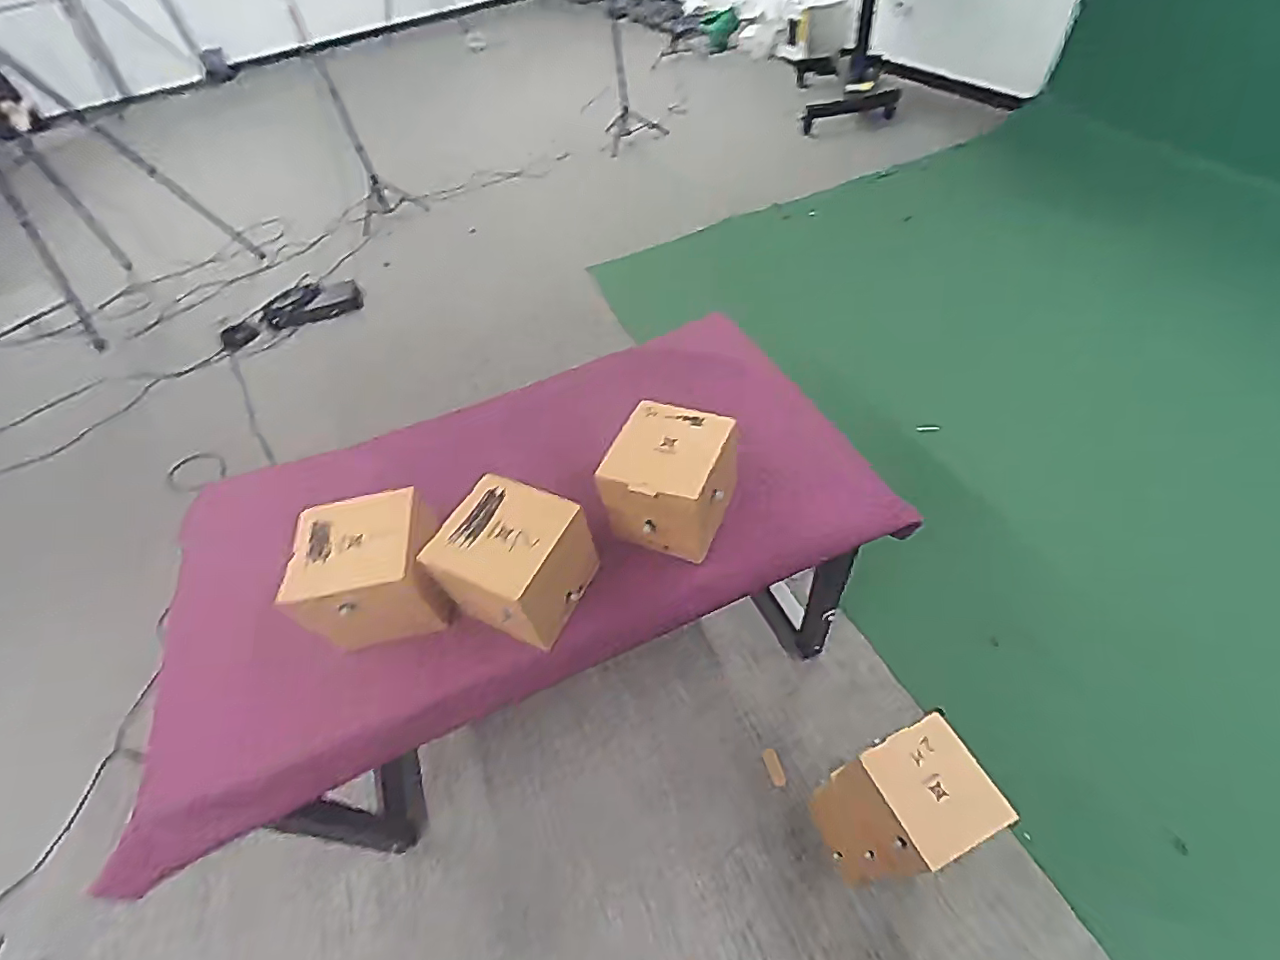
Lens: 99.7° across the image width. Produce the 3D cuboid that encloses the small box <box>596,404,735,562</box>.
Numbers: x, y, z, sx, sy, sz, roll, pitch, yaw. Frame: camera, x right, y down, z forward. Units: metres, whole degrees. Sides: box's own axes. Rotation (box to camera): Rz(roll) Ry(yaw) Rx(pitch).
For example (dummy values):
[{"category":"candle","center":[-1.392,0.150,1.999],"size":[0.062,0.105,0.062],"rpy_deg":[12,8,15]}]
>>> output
[{"category":"small box","center":[0.052,0.008,0.886],"size":[0.168,0.176,0.179],"rpy_deg":[16,55,21]}]

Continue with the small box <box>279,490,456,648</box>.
[{"category":"small box","center":[-0.408,0.143,0.843],"size":[0.179,0.176,0.168],"rpy_deg":[-11,50,-2]}]

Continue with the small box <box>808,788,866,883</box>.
[{"category":"small box","center":[0.482,0.743,1.170],"size":[0.179,0.176,0.168],"rpy_deg":[-21,51,-9]}]

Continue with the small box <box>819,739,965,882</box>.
[{"category":"small box","center":[0.471,0.641,1.045],"size":[0.168,0.176,0.179],"rpy_deg":[-23,53,-11]}]
